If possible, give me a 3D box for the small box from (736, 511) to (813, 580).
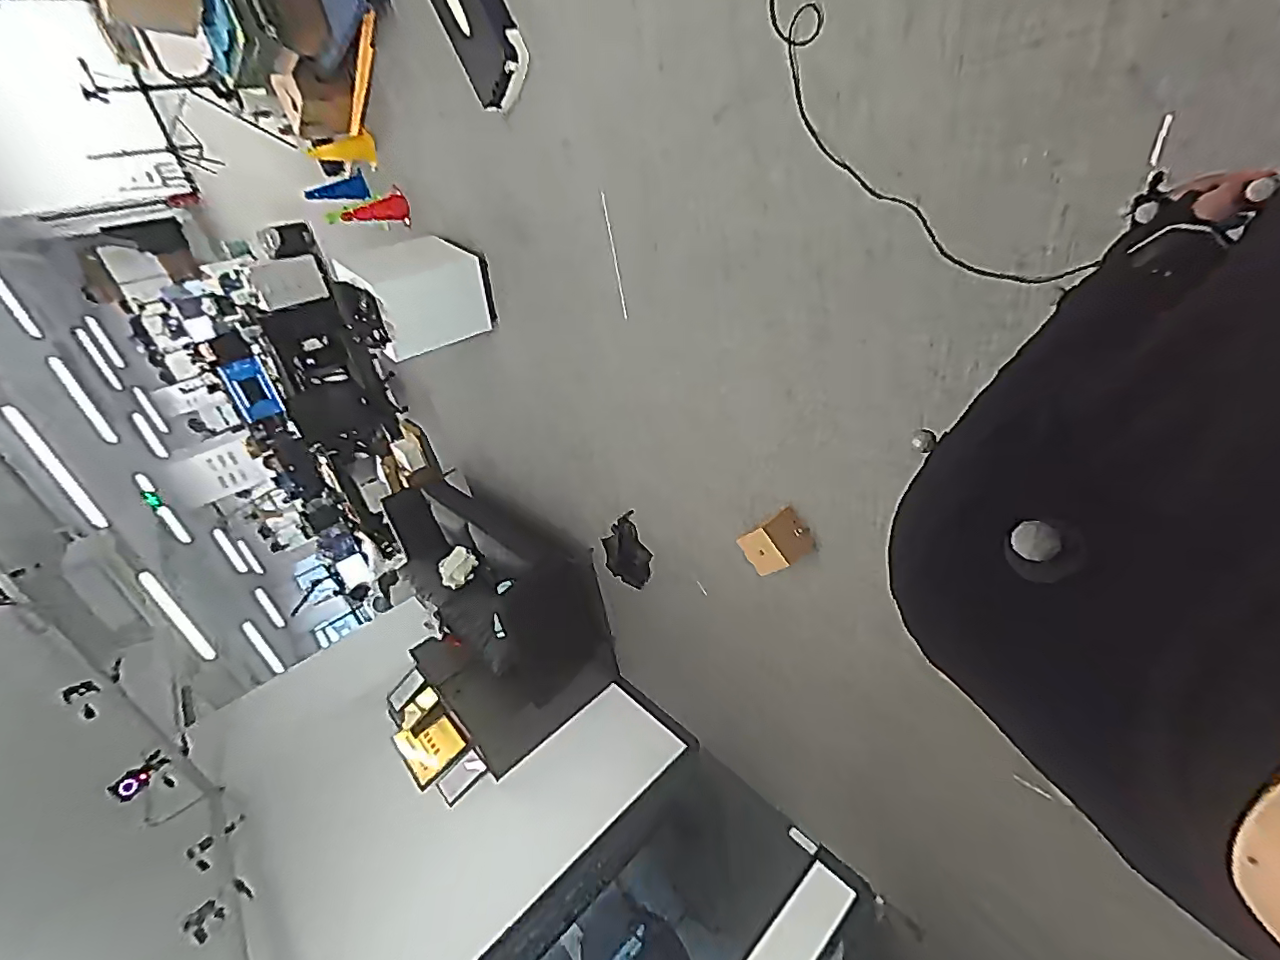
[{"bbox_3d":[0.494,0.239,1.978,0.168,0.176,0.179,54,148,6],"label":"small box"}]
